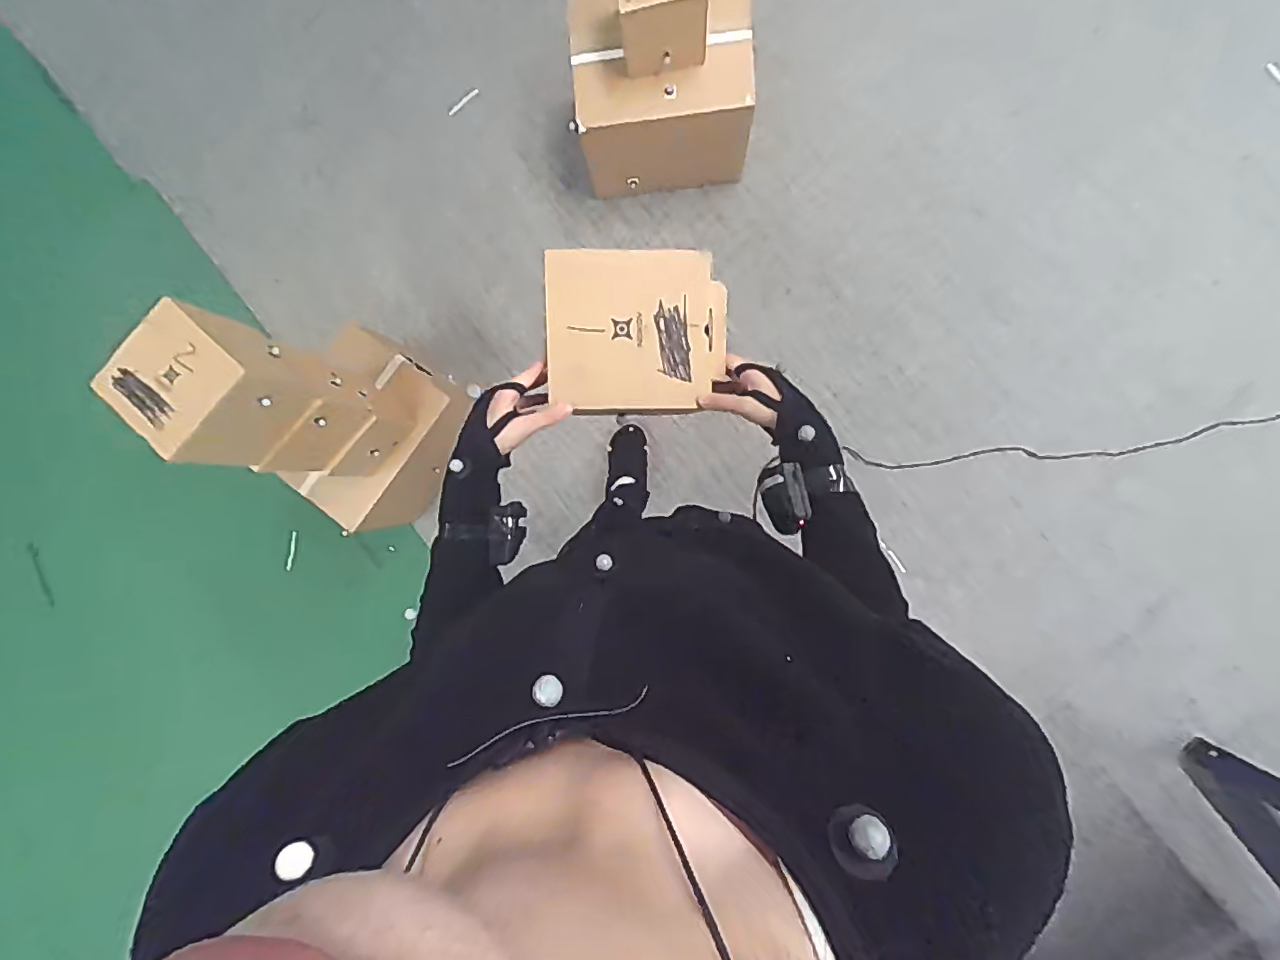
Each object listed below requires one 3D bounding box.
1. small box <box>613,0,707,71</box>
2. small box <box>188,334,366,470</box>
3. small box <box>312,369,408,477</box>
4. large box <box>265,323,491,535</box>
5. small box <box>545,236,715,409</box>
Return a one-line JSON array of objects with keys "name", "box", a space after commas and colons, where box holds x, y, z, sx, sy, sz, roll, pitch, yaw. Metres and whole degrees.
[{"name": "small box", "box": [0.034, -0.985, 1.103, 0.179, 0.176, 0.168, -9, 88, 3]}, {"name": "small box", "box": [-0.653, -0.131, 0.995, 0.168, 0.176, 0.179, 44, 92, 2]}, {"name": "small box", "box": [-0.640, -0.124, 1.157, 0.179, 0.176, 0.168, 43, 92, 2]}, {"name": "large box", "box": [-0.663, -0.124, 1.404, 0.320, 0.320, 0.408, 37, 94, 4]}, {"name": "small box", "box": [-0.016, -0.171, 0.633, 0.179, 0.176, 0.168, -1, 95, -4]}]
